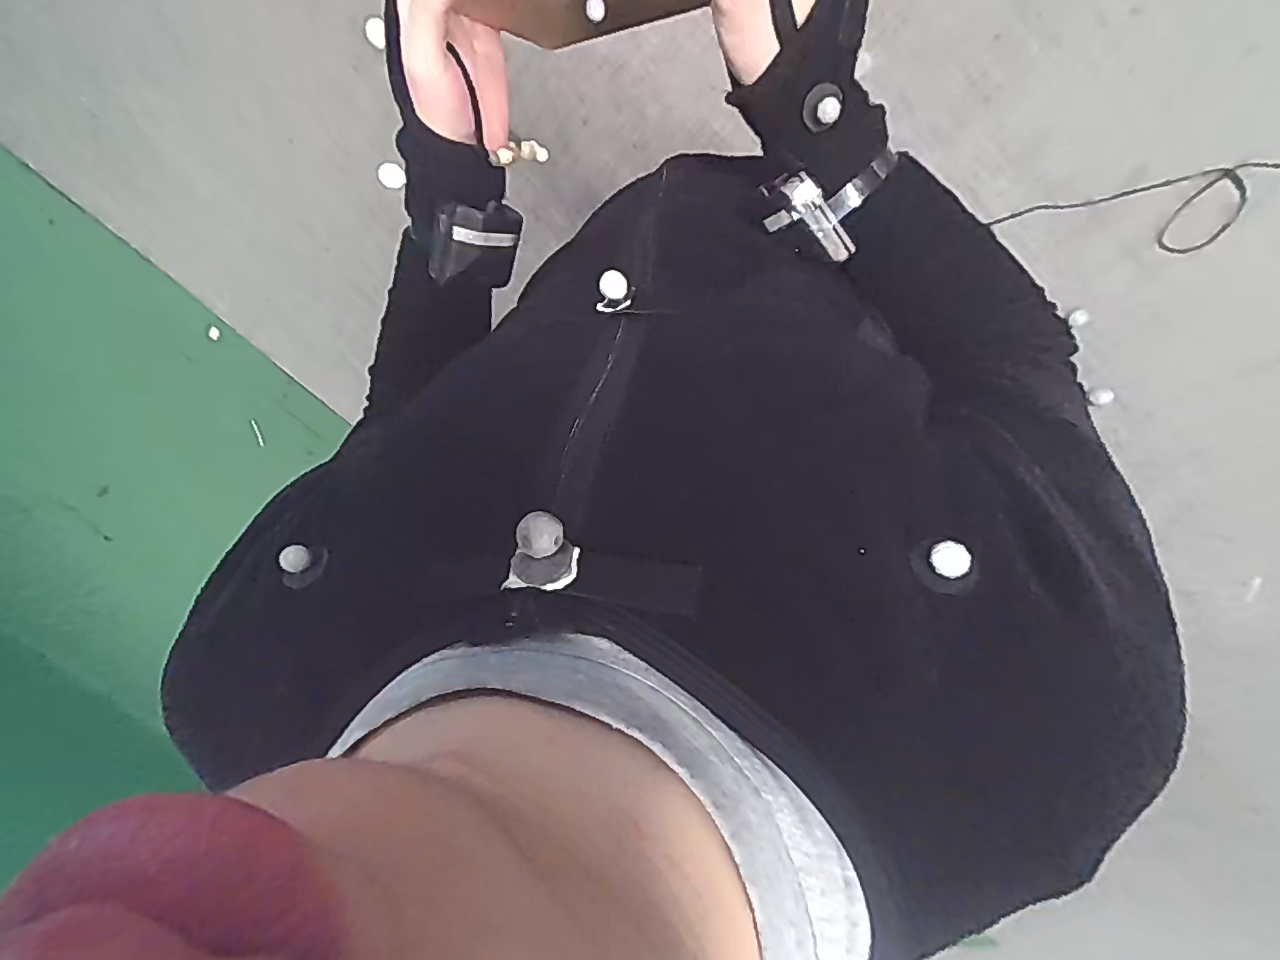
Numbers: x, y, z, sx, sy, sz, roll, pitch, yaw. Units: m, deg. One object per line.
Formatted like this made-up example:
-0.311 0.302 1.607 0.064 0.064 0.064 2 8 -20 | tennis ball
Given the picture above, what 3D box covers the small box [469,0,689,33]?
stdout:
-0.026 -0.379 0.293 0.179 0.176 0.168 3 118 21 | small box
